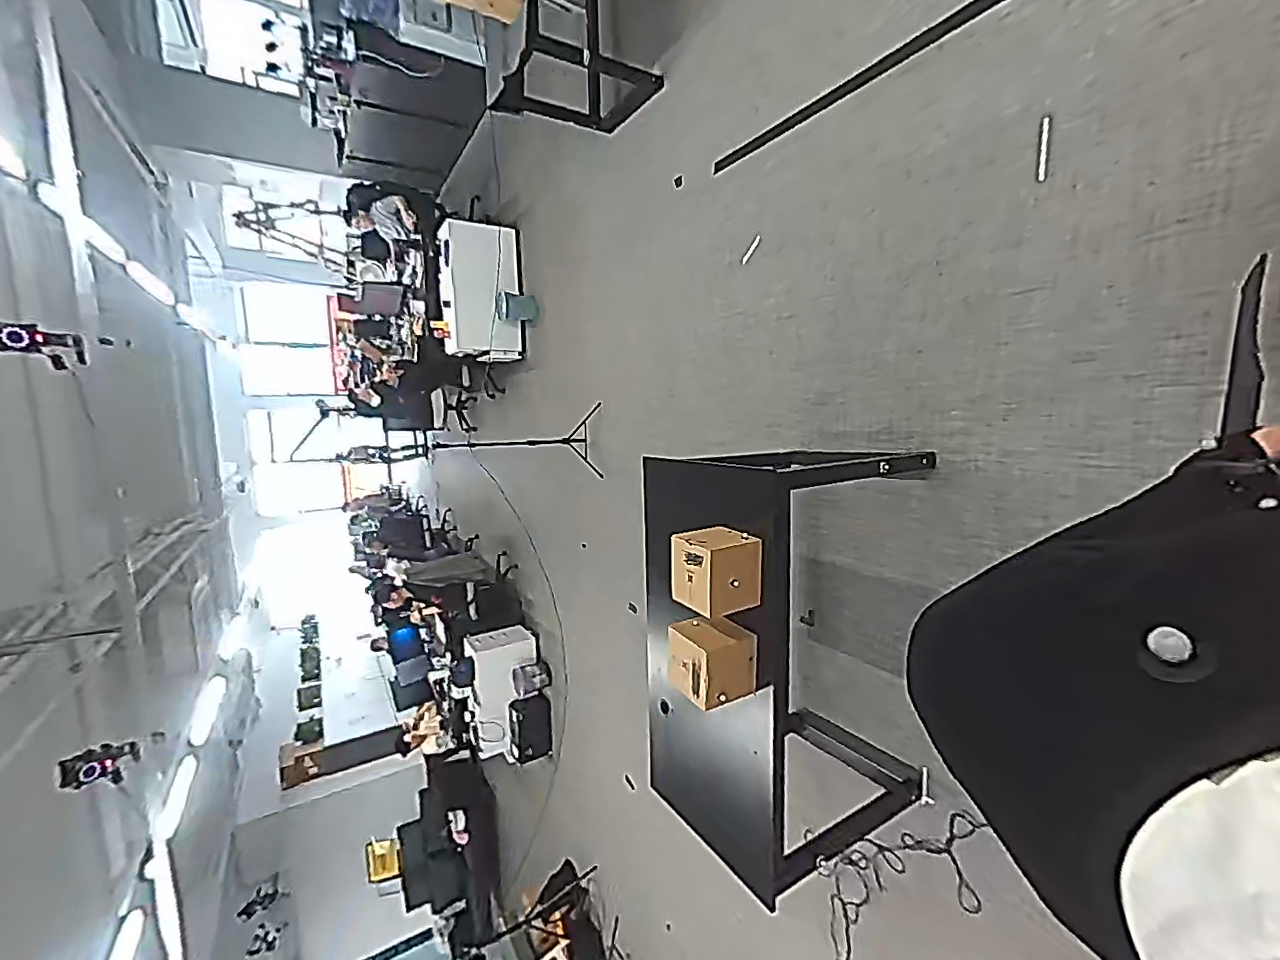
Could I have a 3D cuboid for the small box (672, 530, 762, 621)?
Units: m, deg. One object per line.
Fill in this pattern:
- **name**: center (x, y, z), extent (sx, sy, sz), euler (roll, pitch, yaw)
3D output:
- **small box**: center (0.199, 0.236, 1.394), extent (0.168, 0.176, 0.179), euler (15, 109, 58)
